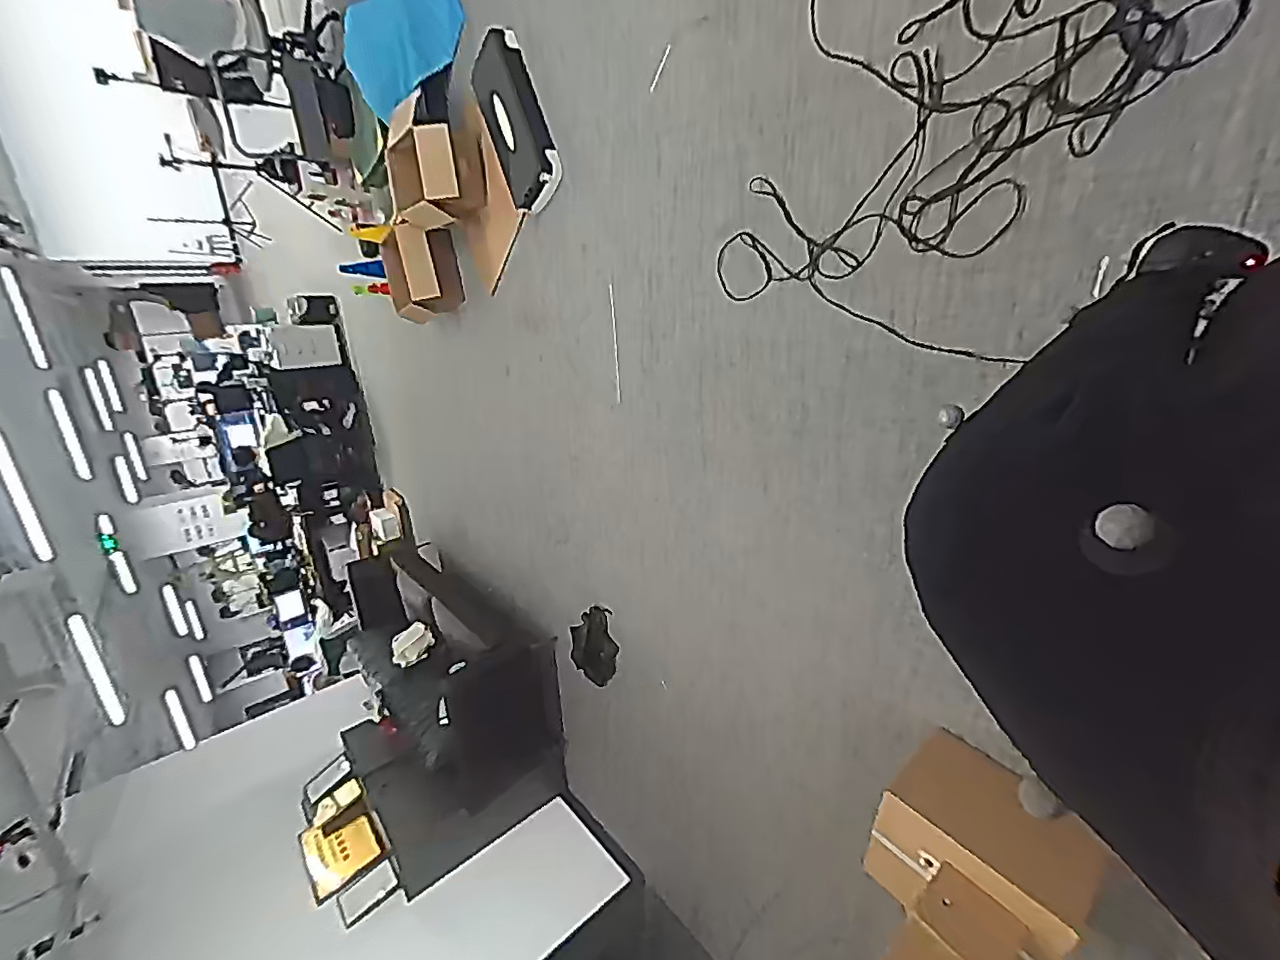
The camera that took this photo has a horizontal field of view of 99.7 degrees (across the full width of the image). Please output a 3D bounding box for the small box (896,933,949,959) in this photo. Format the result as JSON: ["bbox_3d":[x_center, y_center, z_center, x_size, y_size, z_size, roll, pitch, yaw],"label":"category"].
[{"bbox_3d":[0.570,1.062,1.060,0.179,0.176,0.168,27,125,44],"label":"small box"}]

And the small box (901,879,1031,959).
[{"bbox_3d":[0.690,1.008,1.156,0.179,0.176,0.168,27,125,43],"label":"small box"}]

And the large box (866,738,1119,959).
[{"bbox_3d":[0.849,0.944,1.333,0.408,0.320,0.320,27,123,45],"label":"large box"}]
